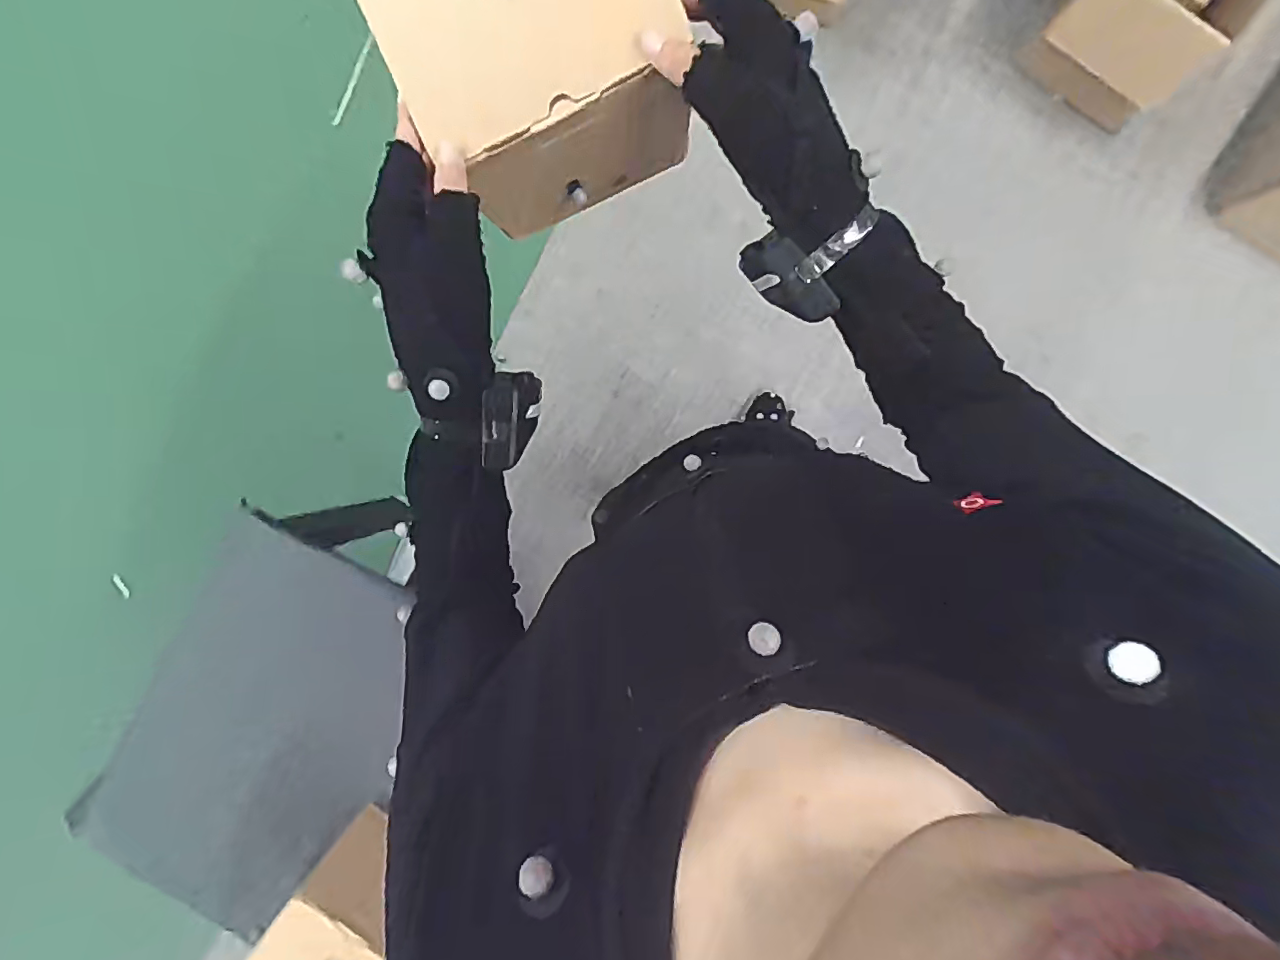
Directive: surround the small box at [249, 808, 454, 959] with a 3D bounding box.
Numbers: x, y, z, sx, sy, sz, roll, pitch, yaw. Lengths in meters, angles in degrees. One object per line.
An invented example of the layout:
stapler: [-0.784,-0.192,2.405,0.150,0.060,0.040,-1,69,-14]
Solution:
small box: [-0.385,0.603,0.732,0.168,0.176,0.179,37,95,1]
